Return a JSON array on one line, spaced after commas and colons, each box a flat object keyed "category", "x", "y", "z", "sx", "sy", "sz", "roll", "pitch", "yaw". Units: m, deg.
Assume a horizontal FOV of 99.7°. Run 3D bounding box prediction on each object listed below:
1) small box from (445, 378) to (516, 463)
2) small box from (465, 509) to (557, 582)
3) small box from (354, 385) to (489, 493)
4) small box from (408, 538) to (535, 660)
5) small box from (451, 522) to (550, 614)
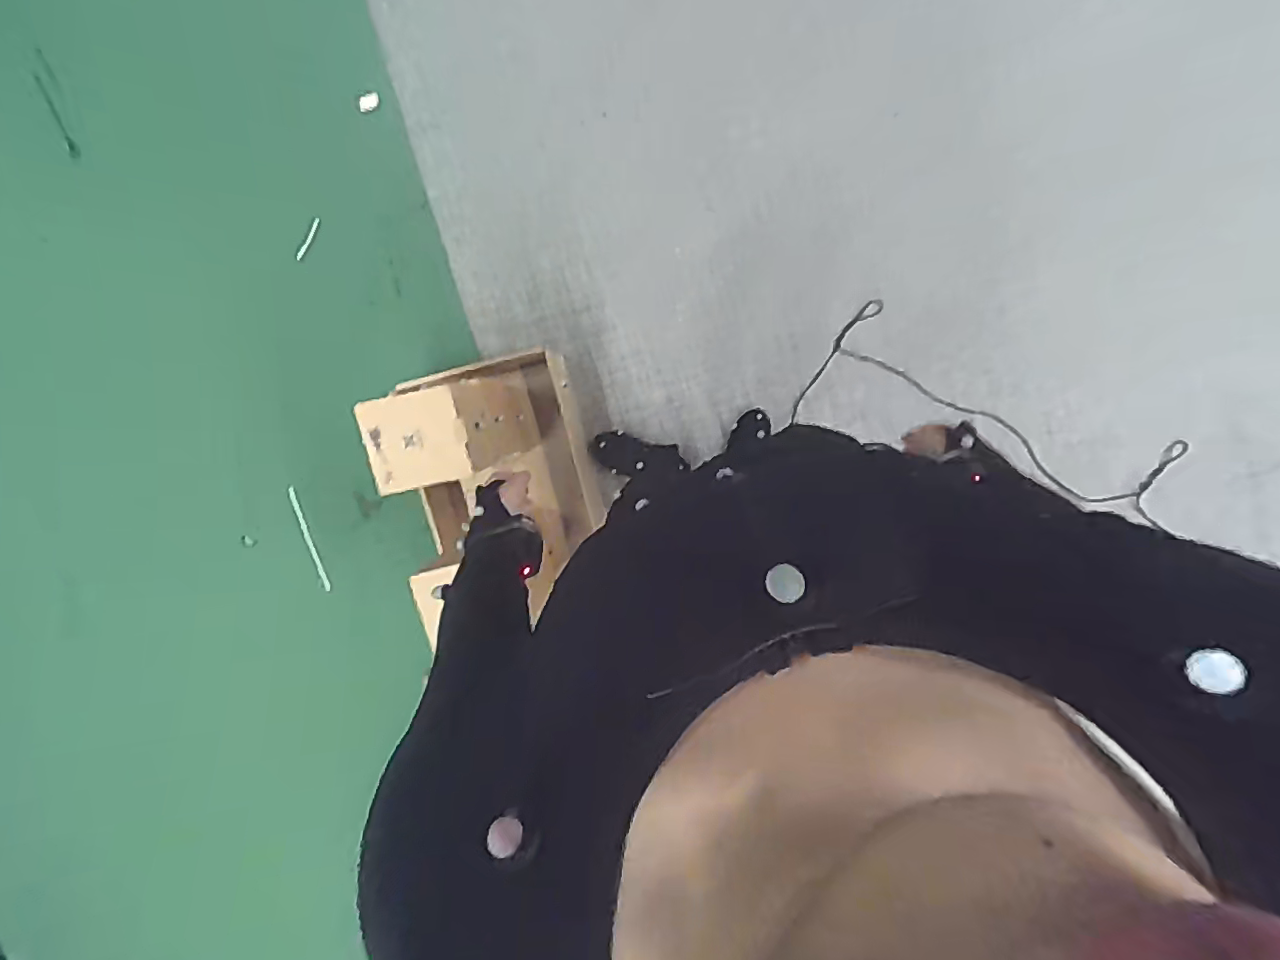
[{"category": "small box", "x": -0.387, "y": -0.118, "z": 1.185, "sx": 0.168, "sy": 0.176, "sz": 0.179, "roll": -16, "pitch": 99, "yaw": 2}, {"category": "small box", "x": -0.322, "y": 0.183, "z": 1.394, "sx": 0.179, "sy": 0.176, "sz": 0.168, "roll": -15, "pitch": 97, "yaw": 3}, {"category": "small box", "x": -0.398, "y": -0.085, "z": 1.024, "sx": 0.179, "sy": 0.176, "sz": 0.168, "roll": -12, "pitch": 99, "yaw": 1}, {"category": "small box", "x": -0.322, "y": 0.222, "z": 1.067, "sx": 0.168, "sy": 0.176, "sz": 0.179, "roll": -14, "pitch": 98, "yaw": 4}, {"category": "small box", "x": -0.316, "y": 0.209, "z": 1.232, "sx": 0.168, "sy": 0.176, "sz": 0.179, "roll": -14, "pitch": 97, "yaw": 3}]
